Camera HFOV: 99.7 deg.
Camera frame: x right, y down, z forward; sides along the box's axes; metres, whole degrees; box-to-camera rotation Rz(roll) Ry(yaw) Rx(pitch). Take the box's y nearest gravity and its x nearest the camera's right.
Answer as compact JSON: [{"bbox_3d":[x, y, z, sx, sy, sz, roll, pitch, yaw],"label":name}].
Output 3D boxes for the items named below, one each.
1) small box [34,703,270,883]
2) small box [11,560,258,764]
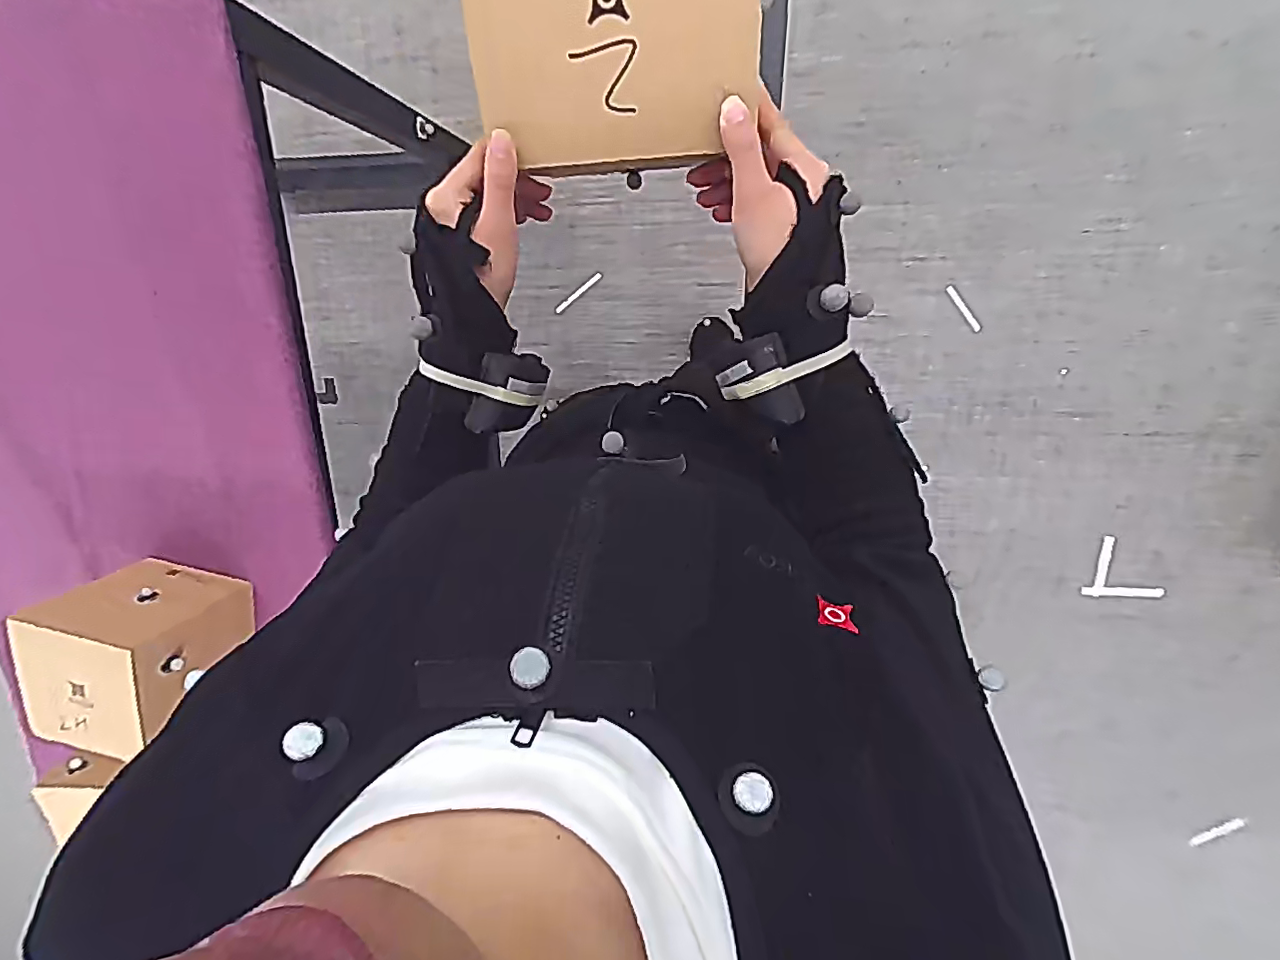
[{"bbox_3d":[-0.686,0.444,0.790,0.179,0.176,0.168,-6,106,10],"label":"small box"},{"bbox_3d":[-0.646,0.227,0.716,0.168,0.176,0.179,12,109,6],"label":"small box"}]
